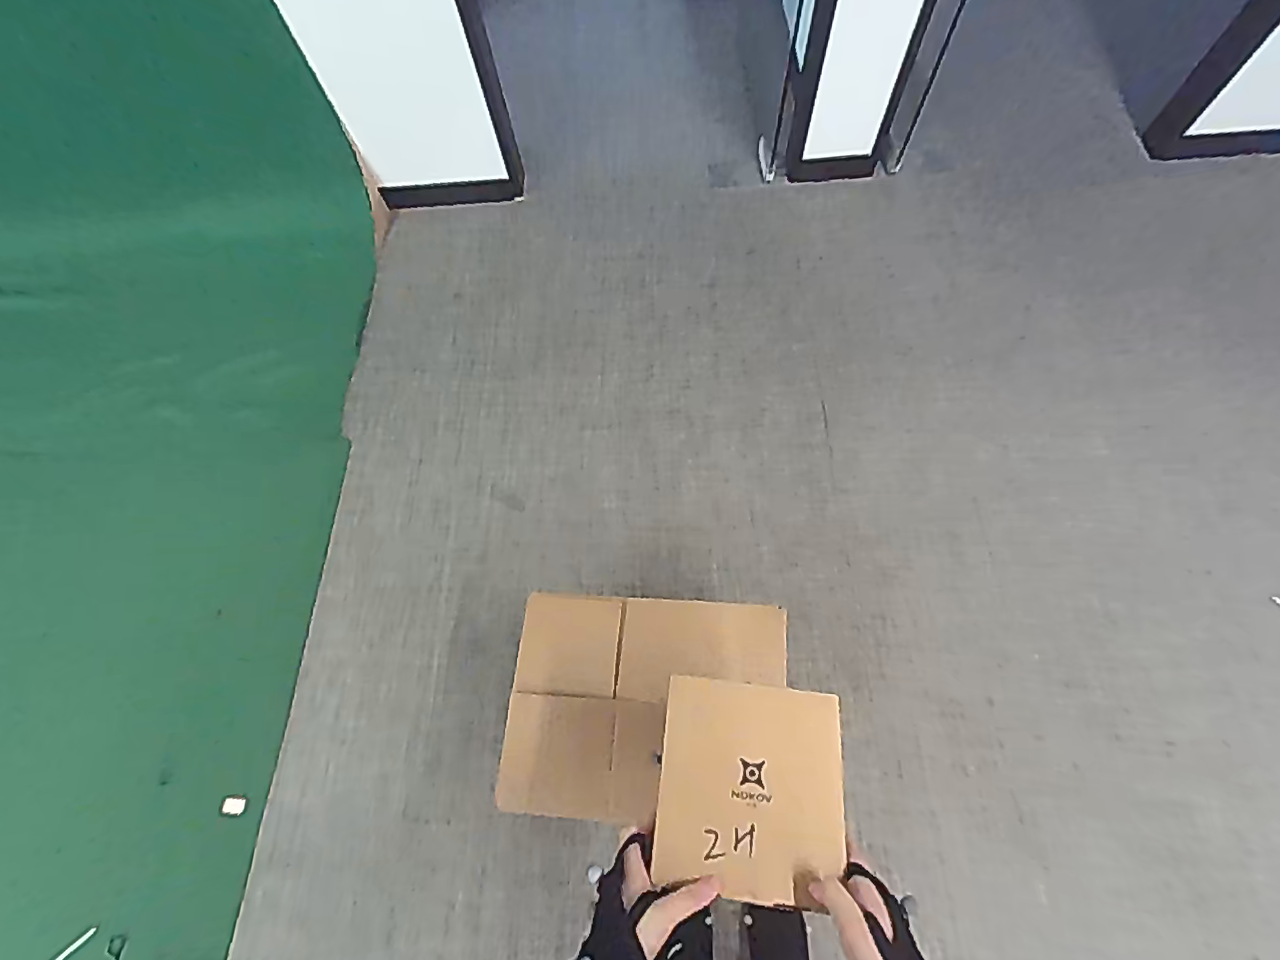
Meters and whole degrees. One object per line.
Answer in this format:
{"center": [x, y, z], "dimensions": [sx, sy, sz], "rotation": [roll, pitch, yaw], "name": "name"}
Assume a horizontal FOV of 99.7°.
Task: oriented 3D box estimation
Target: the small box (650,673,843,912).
{"center": [0.103, 0.316, 0.566], "dimensions": [0.168, 0.176, 0.179], "rotation": [4, 61, 7], "name": "small box"}
